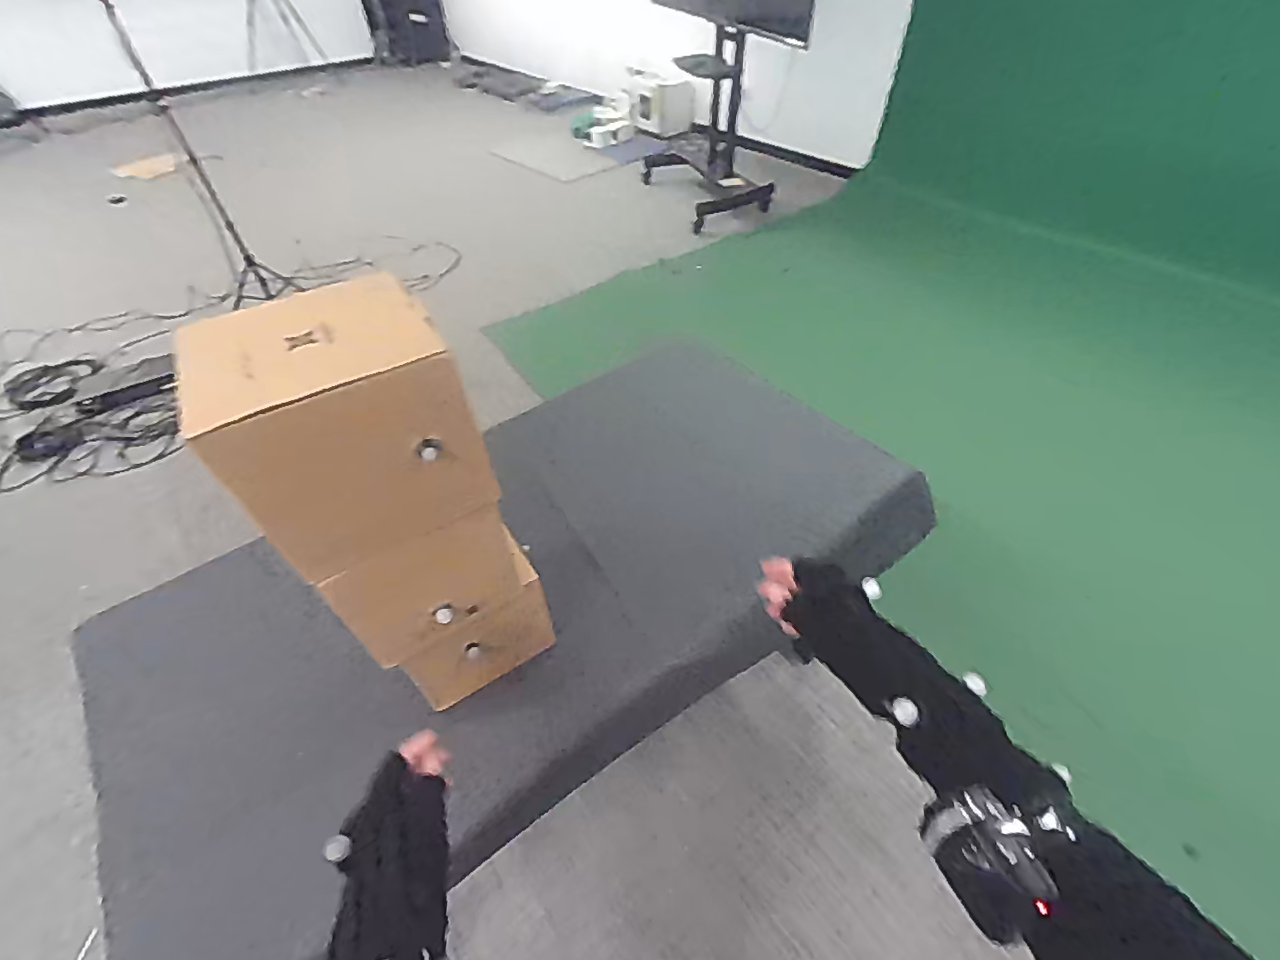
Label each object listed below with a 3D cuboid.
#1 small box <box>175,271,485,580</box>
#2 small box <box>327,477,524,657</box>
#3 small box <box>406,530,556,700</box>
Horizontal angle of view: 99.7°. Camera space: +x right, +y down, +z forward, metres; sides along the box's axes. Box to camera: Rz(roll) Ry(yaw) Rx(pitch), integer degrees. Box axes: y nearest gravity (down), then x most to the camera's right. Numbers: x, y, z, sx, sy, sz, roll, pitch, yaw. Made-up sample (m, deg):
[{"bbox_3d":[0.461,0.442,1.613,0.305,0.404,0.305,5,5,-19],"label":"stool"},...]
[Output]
[{"bbox_3d":[-0.252,-0.049,0.471,0.179,0.176,0.168,-28,50,-18],"label":"small box"},{"bbox_3d":[-0.252,0.056,0.595,0.168,0.176,0.179,-31,51,-23],"label":"small box"},{"bbox_3d":[-0.233,0.158,0.723,0.179,0.176,0.168,-28,52,-20],"label":"small box"}]
